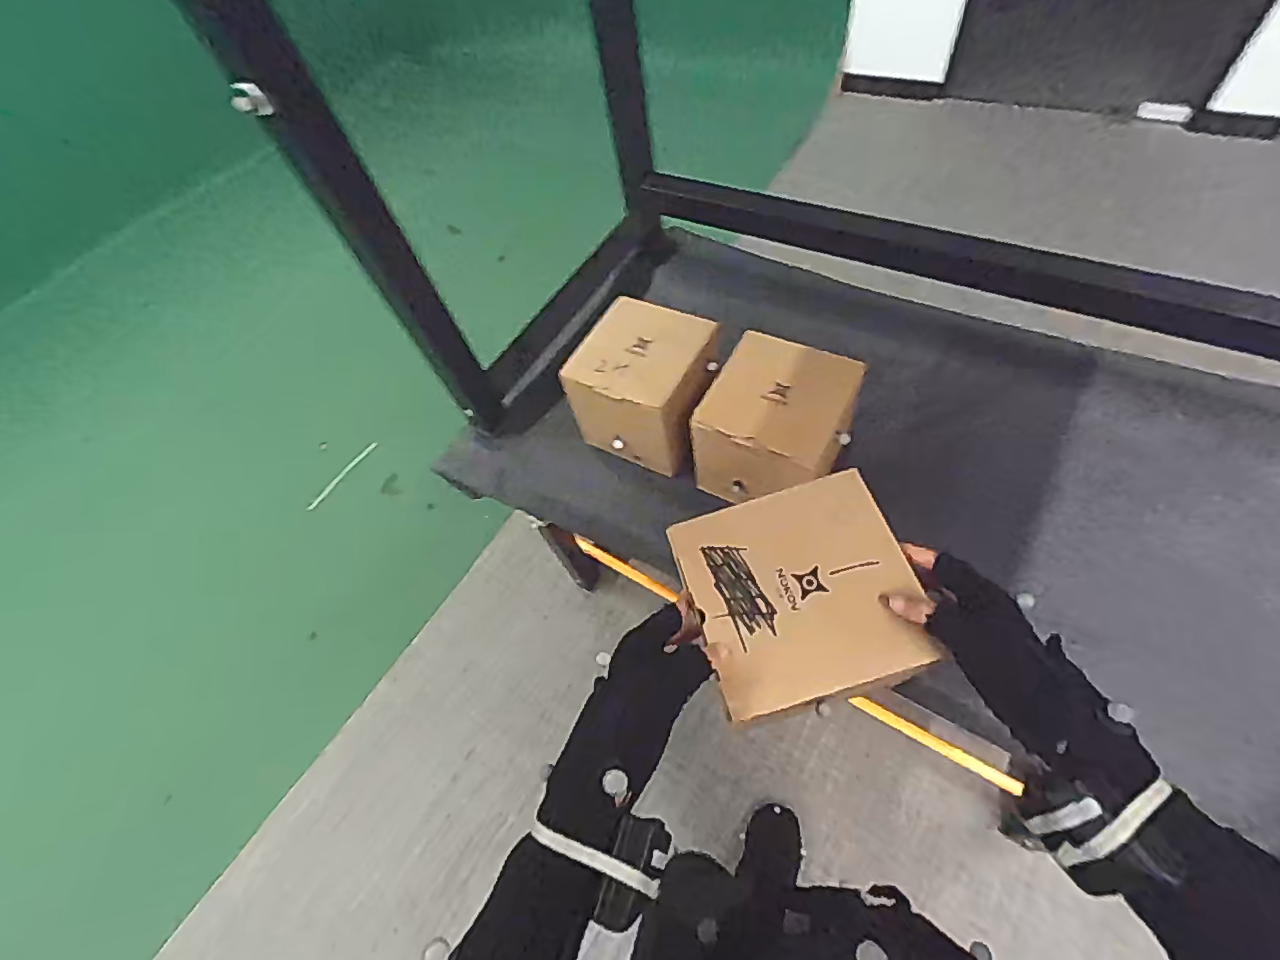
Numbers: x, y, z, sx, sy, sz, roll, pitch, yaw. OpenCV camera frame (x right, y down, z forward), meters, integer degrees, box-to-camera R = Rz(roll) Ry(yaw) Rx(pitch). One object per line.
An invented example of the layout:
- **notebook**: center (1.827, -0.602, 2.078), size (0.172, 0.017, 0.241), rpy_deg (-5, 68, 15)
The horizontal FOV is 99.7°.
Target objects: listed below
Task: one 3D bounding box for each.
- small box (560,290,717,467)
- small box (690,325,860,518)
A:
- **small box**: center (0.007, -0.152, 0.830), size (0.168, 0.176, 0.179), rpy_deg (23, 66, 21)
- **small box**: center (0.183, -0.079, 0.758), size (0.168, 0.176, 0.179), rpy_deg (23, 66, 22)
